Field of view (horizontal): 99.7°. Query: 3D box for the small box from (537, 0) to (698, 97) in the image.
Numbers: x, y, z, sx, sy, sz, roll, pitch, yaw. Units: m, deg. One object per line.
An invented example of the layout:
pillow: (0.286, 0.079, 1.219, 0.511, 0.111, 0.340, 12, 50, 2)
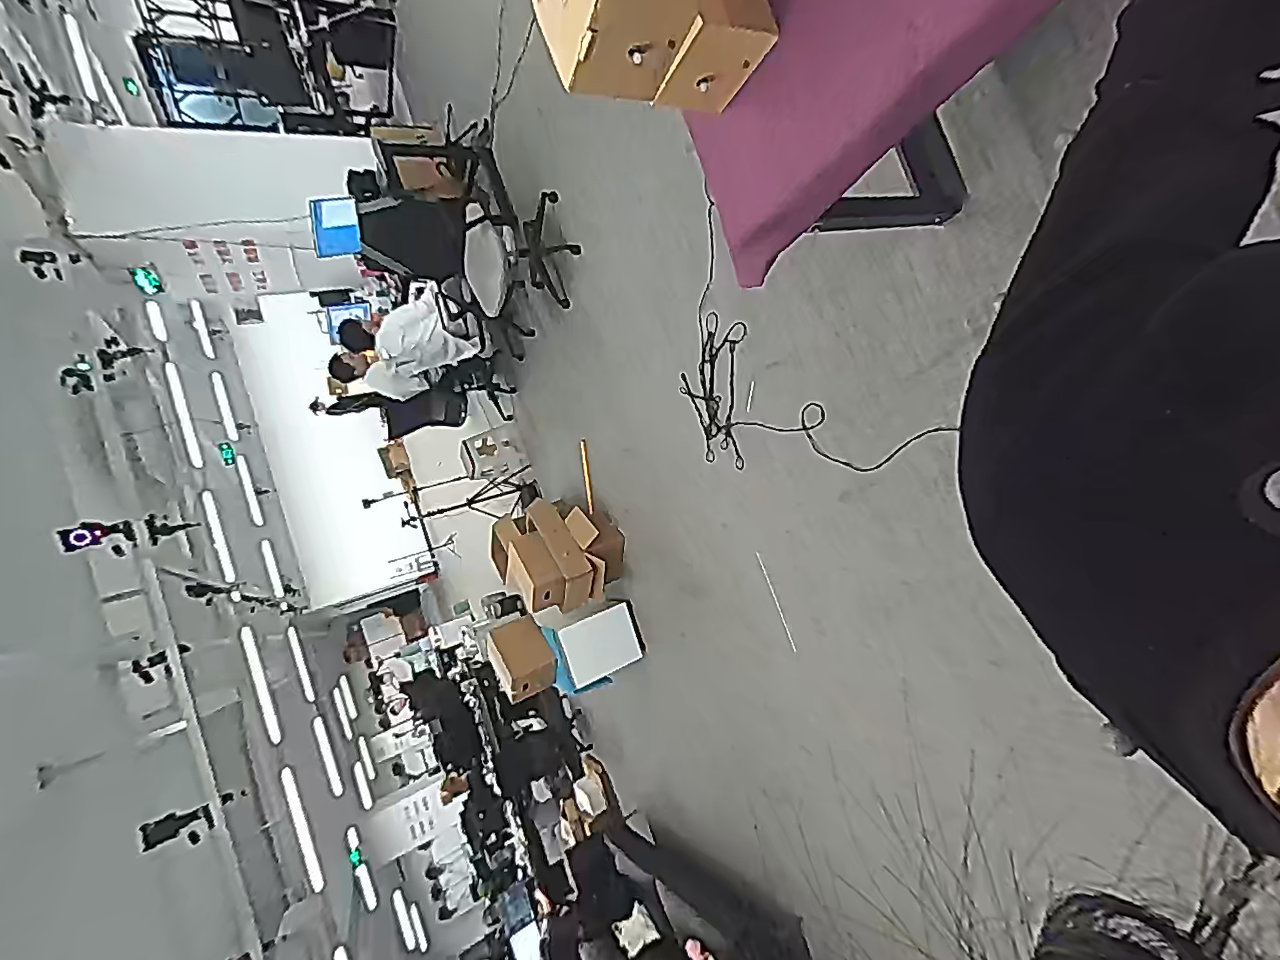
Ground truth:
small box: (-0.036, -0.734, 0.837, 0.168, 0.176, 0.179, -32, 77, 60)

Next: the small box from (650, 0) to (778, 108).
small box: (0.105, -0.768, 0.914, 0.168, 0.176, 0.179, -22, 86, 62)
